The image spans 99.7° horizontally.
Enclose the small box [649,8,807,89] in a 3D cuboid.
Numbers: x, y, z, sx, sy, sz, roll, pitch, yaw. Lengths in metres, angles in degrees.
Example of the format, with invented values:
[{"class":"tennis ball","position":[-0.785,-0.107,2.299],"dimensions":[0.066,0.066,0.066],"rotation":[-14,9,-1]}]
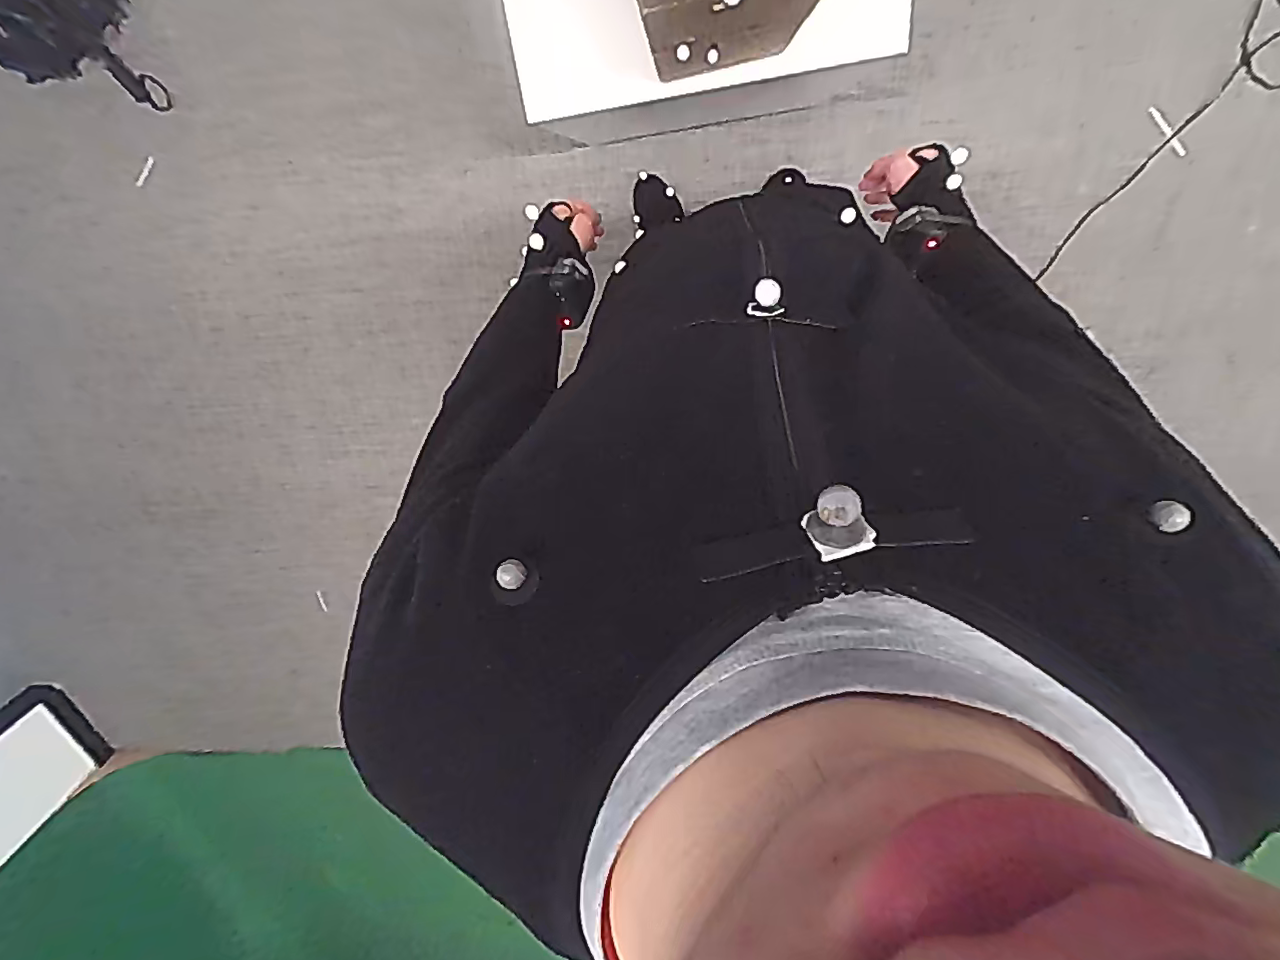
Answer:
[{"class":"small box","position":[0.084,-0.575,0.604],"dimensions":[0.168,0.176,0.179],"rotation":[-8,115,12]}]

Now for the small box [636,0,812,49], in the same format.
[{"class":"small box","position":[0.070,-0.499,0.458],"dimensions":[0.168,0.176,0.179],"rotation":[-8,115,9]}]
